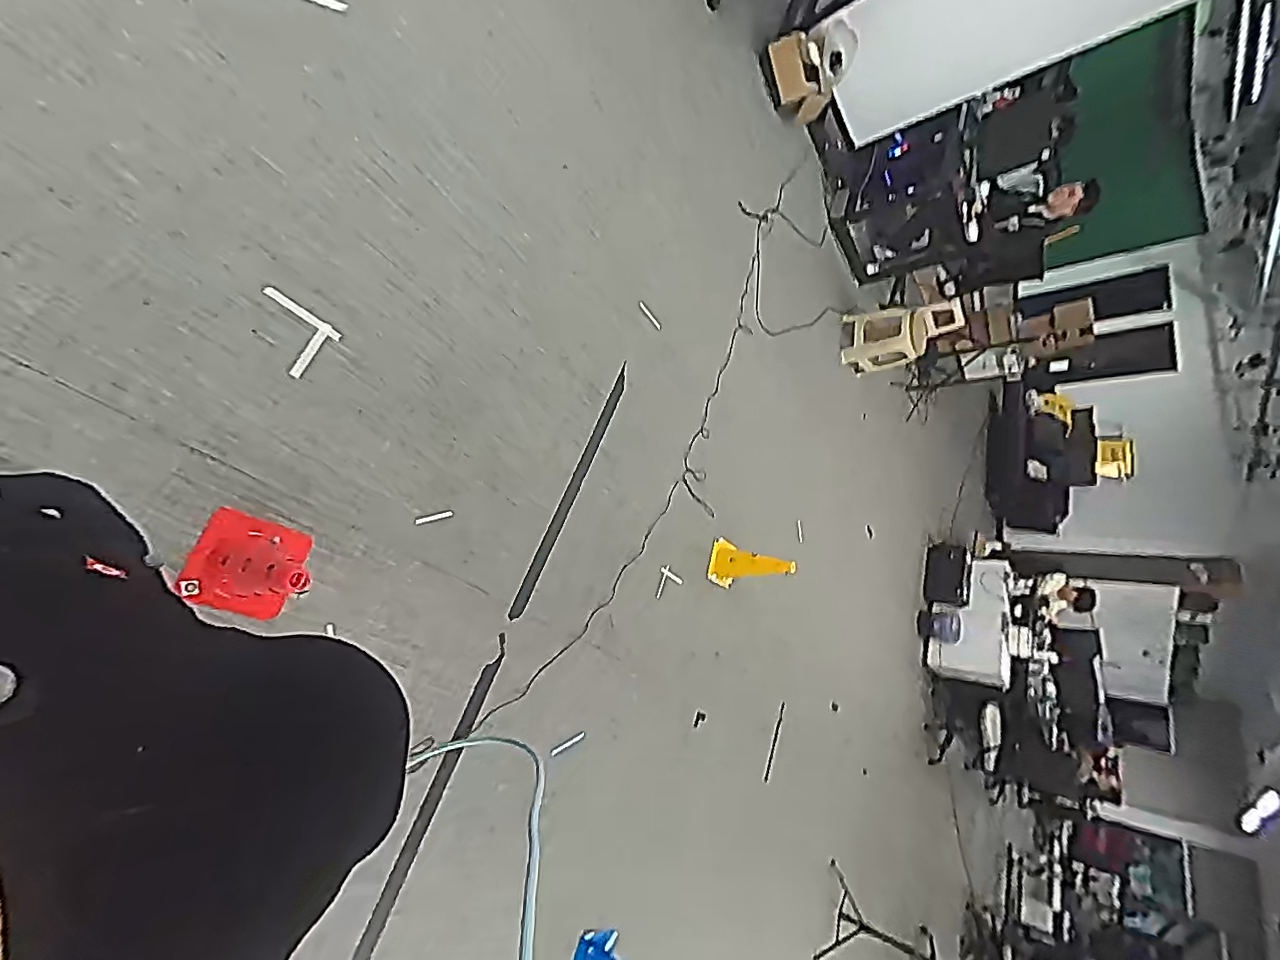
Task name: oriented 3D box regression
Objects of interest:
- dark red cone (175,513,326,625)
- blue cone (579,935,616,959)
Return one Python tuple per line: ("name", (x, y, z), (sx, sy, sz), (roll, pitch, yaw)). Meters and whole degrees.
("dark red cone", (-0.692, 0.181, 1.023), (0.201, 0.394, 0.202), (34, 64, -43))
("blue cone", (-0.036, 1.655, 1.725), (0.192, 0.380, 0.193), (43, 58, -39))
